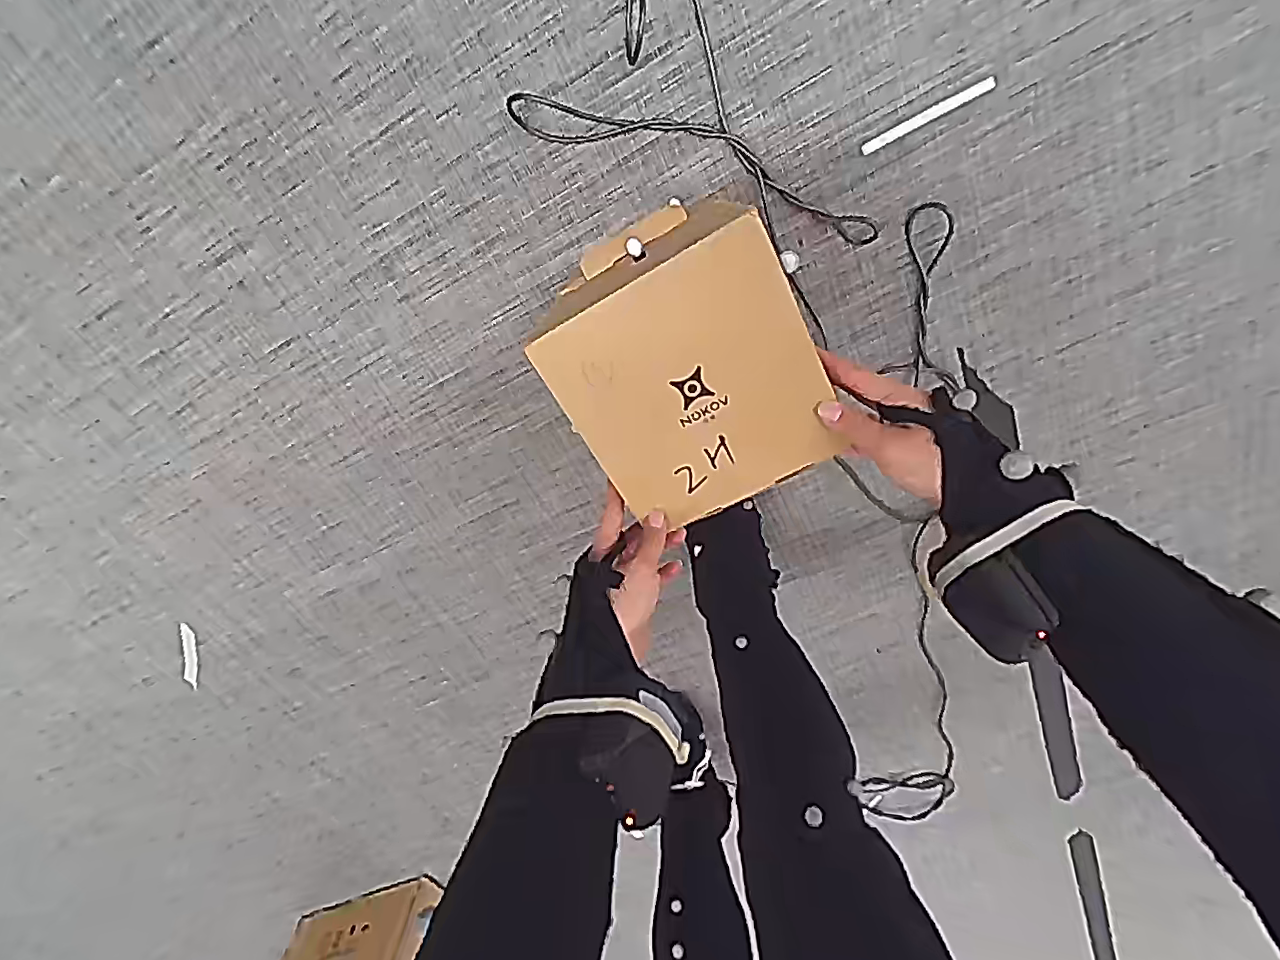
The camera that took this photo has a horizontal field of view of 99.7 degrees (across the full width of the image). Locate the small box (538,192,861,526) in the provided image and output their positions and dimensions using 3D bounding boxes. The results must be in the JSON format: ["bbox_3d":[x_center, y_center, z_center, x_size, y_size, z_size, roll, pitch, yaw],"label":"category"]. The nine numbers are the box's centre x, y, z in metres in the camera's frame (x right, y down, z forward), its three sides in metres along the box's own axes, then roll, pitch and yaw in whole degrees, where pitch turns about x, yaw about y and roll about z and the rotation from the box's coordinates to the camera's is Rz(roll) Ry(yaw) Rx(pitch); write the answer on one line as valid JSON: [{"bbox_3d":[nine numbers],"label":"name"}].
[{"bbox_3d":[0.043,-0.101,0.432,0.168,0.176,0.179,-26,115,14],"label":"small box"}]

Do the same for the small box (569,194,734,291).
[{"bbox_3d":[0.043,-0.178,0.578,0.168,0.176,0.179,-25,116,13],"label":"small box"}]
